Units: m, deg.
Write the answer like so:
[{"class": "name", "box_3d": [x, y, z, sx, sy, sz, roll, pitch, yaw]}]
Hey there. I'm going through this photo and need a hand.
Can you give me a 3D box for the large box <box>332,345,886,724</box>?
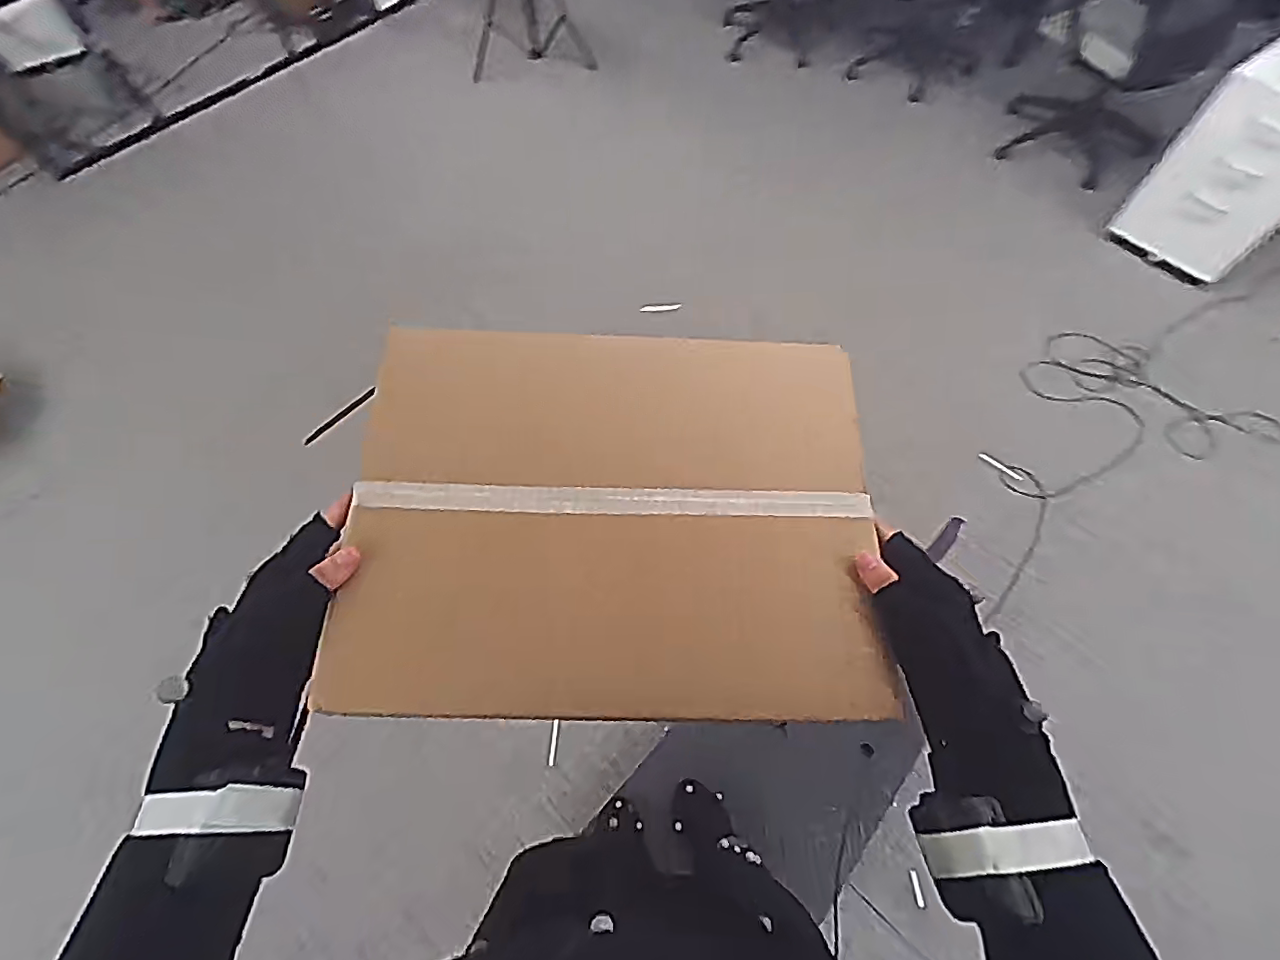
[{"class": "large box", "box_3d": [-0.020, 0.078, 0.576, 0.408, 0.320, 0.320, 2, 67, -1]}]
